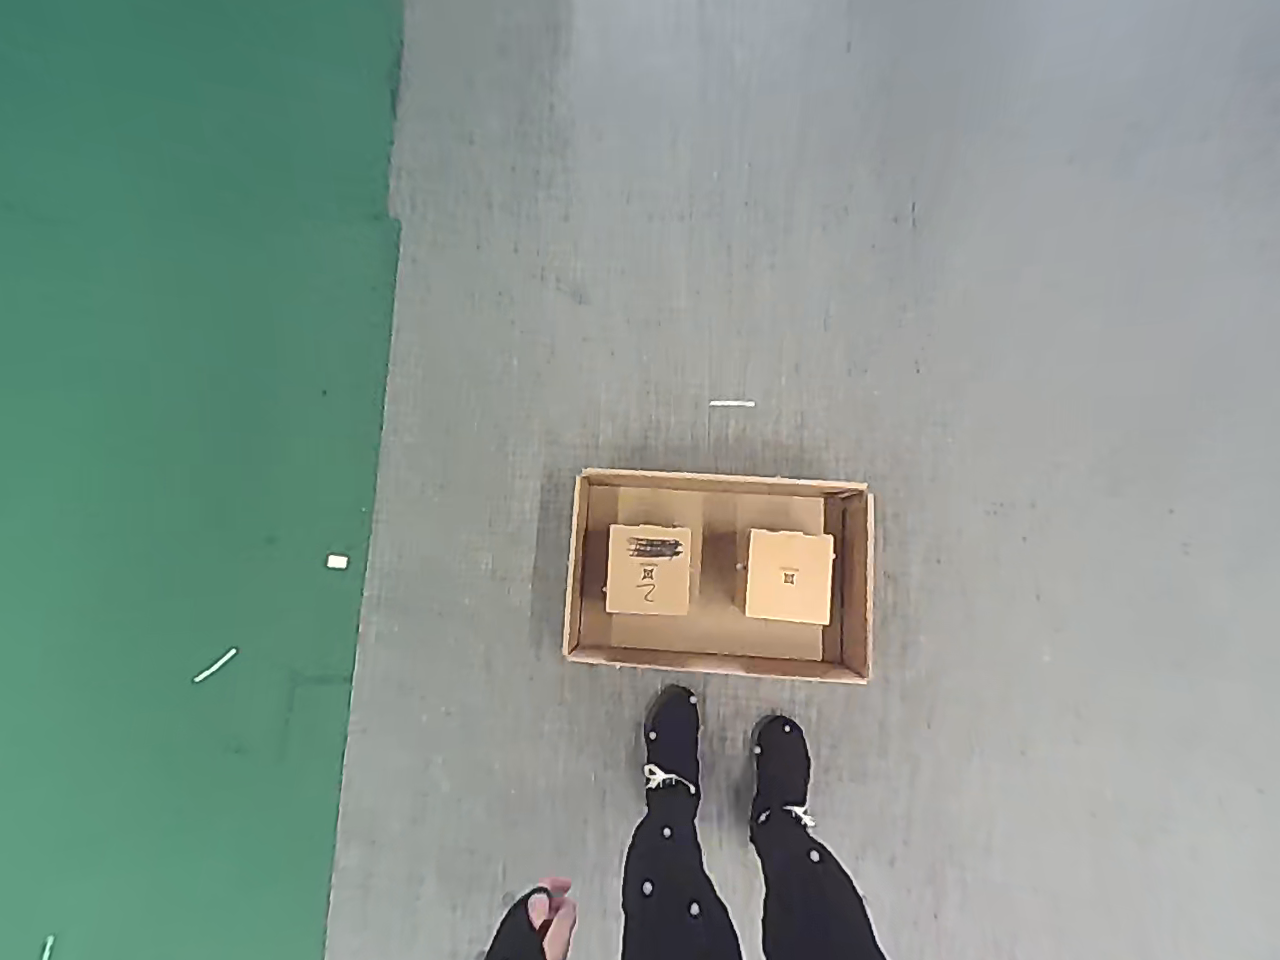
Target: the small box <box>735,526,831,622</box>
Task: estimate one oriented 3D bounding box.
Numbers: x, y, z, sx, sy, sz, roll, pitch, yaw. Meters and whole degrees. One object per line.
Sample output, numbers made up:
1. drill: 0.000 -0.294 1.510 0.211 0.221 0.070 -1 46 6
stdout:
1. small box: 0.297 0.196 1.151 0.168 0.176 0.179 5 83 4
